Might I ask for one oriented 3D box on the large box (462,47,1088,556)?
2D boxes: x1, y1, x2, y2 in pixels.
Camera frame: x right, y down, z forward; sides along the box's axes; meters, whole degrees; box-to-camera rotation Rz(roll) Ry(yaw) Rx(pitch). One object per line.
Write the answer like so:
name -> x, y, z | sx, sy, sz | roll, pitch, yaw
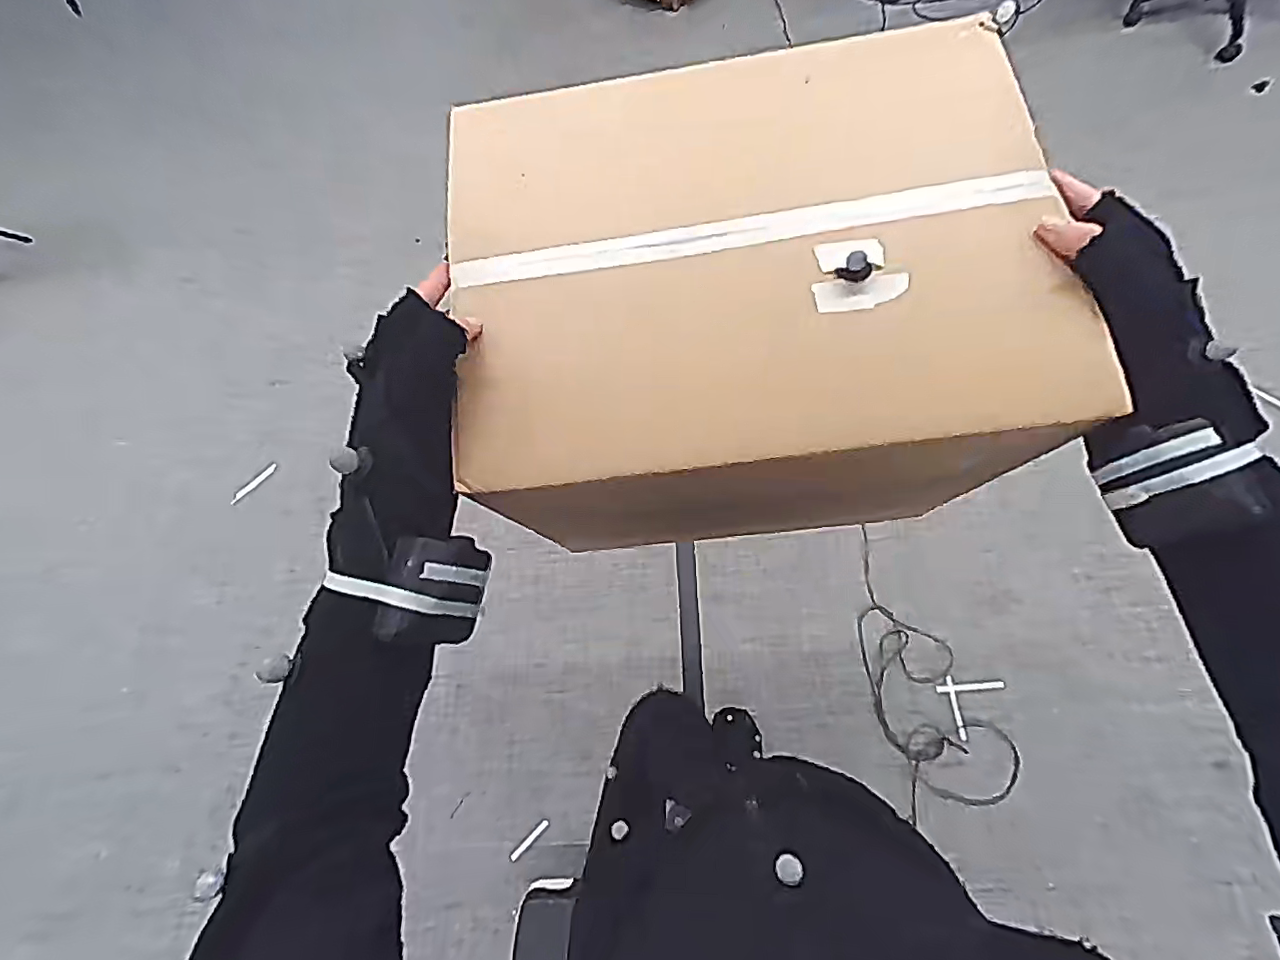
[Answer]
large box -> 0.080, -0.121, 0.529 | 0.408, 0.320, 0.320 | -7, 74, 4
